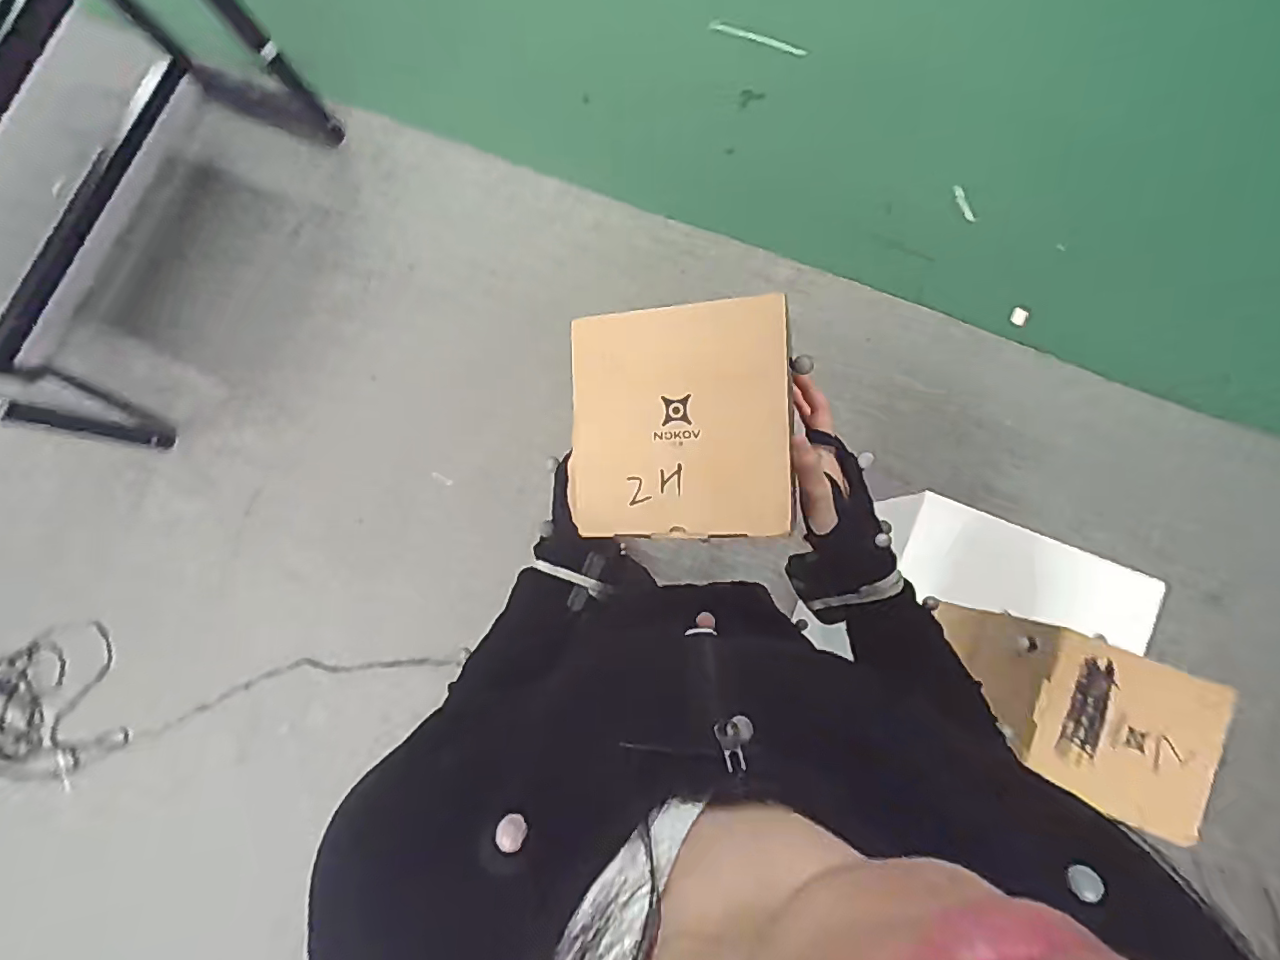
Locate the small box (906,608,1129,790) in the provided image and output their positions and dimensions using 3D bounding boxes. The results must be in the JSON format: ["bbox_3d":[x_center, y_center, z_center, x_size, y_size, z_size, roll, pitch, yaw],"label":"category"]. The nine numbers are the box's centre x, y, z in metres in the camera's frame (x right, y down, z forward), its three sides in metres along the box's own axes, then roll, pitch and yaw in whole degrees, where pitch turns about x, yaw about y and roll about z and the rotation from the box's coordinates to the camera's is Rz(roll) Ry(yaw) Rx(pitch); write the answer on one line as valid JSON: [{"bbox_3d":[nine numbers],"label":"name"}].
[{"bbox_3d":[0.522,0.294,0.773,0.179,0.176,0.168,23,85,7],"label":"small box"}]

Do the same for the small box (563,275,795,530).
[{"bbox_3d":[0.044,-0.050,0.465,0.168,0.176,0.179,-3,90,17],"label":"small box"}]
